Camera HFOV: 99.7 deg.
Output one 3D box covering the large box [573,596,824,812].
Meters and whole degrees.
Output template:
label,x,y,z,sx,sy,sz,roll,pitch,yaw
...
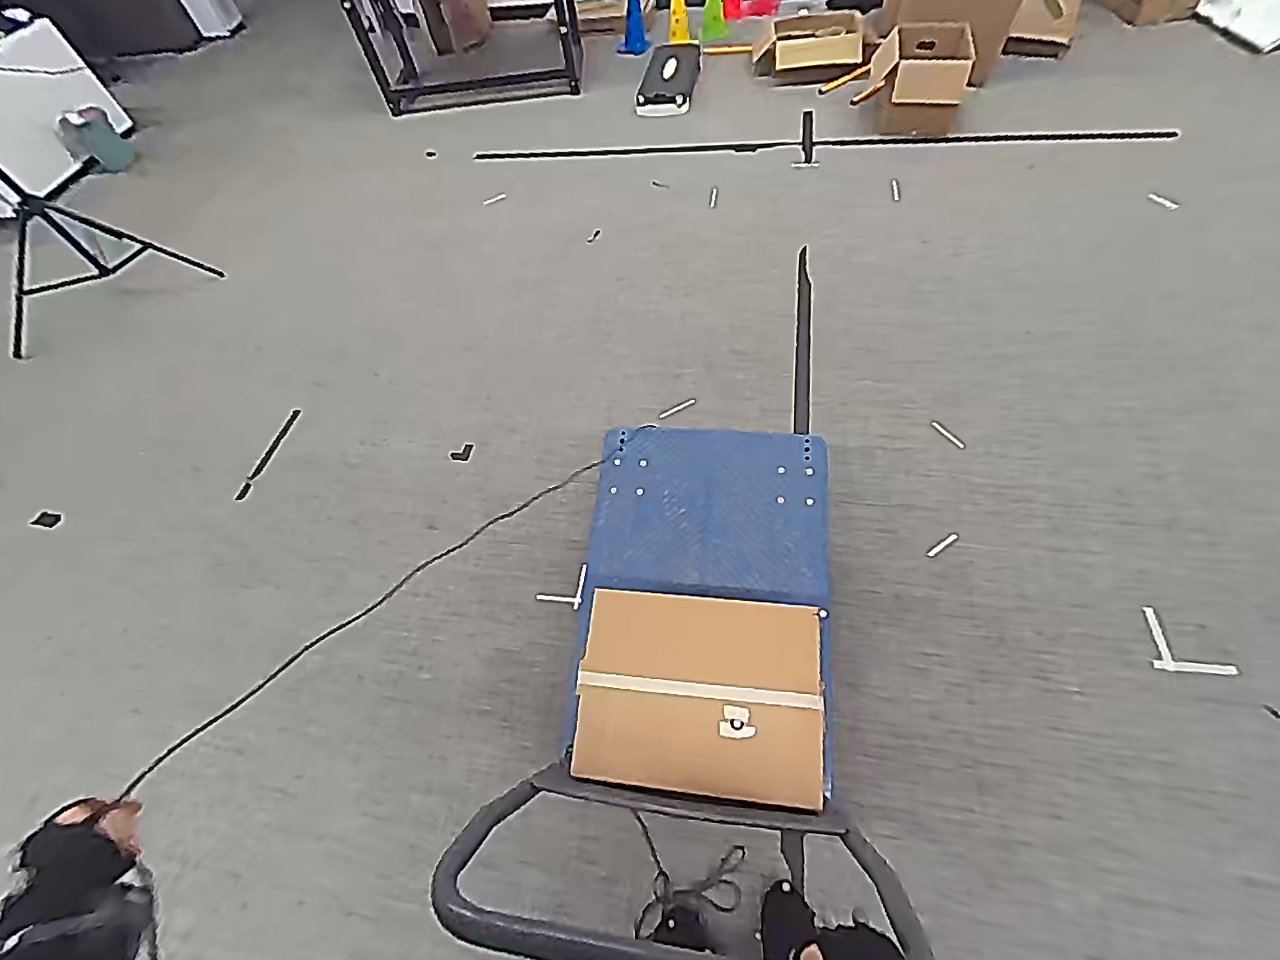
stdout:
label,x,y,z,sx,sy,sz,roll,pitch,yaw
large box,0.112,0.418,1.041,0.408,0.320,0.320,3,69,8
